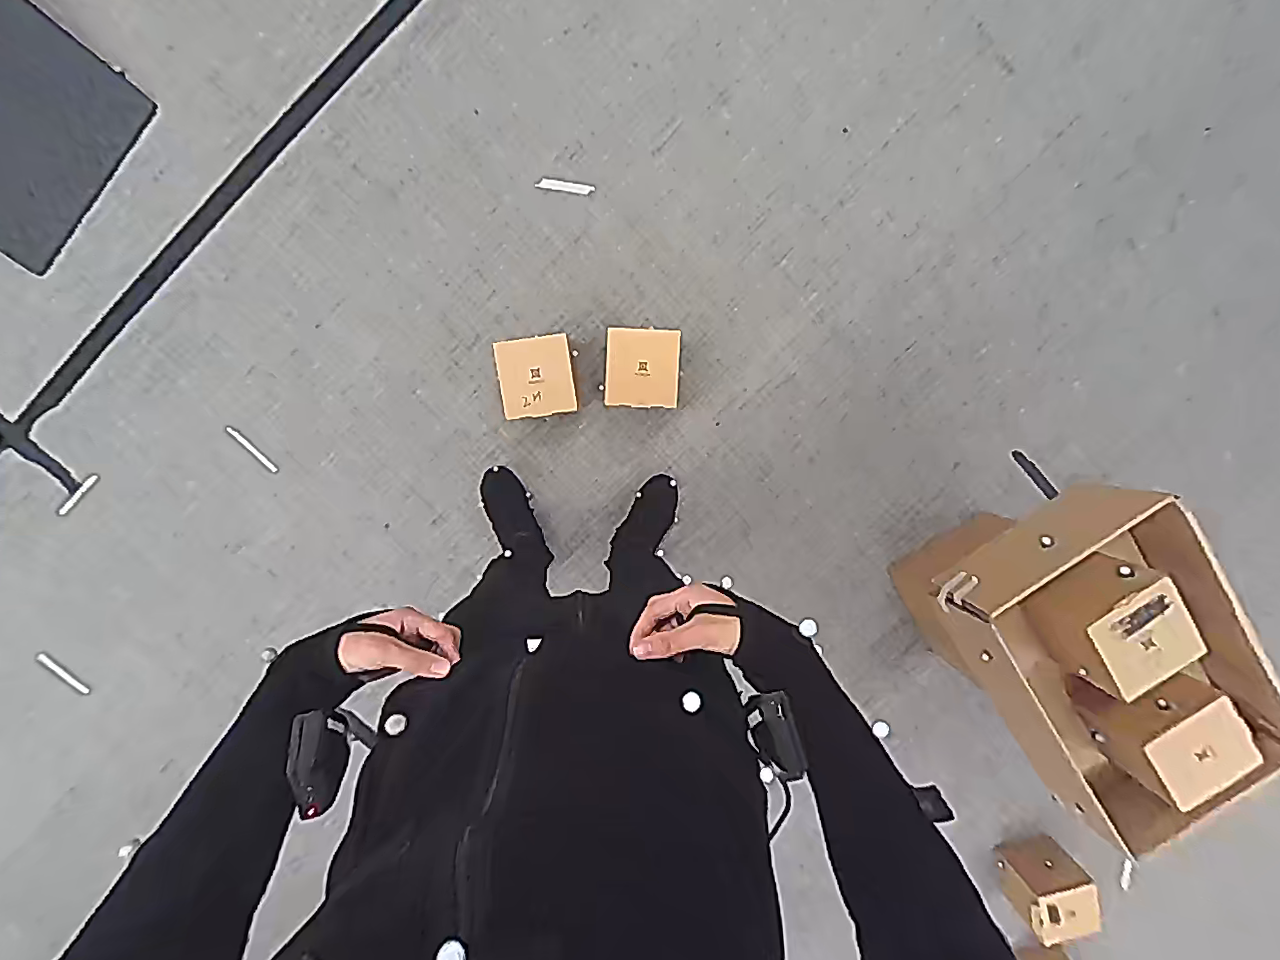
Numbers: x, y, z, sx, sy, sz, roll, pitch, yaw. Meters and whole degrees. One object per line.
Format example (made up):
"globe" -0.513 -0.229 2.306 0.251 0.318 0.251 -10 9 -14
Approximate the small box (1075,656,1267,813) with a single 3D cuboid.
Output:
"small box" 1.000 0.472 1.033 0.179 0.176 0.168 -35 97 0

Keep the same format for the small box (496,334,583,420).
"small box" -0.233 -0.242 1.290 0.168 0.176 0.179 -8 100 -1

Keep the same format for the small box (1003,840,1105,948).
"small box" 1.198 1.201 1.580 0.179 0.176 0.168 -13 99 -1

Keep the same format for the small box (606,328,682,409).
"small box" 0.004 -0.263 1.301 0.168 0.176 0.179 2 100 -3
